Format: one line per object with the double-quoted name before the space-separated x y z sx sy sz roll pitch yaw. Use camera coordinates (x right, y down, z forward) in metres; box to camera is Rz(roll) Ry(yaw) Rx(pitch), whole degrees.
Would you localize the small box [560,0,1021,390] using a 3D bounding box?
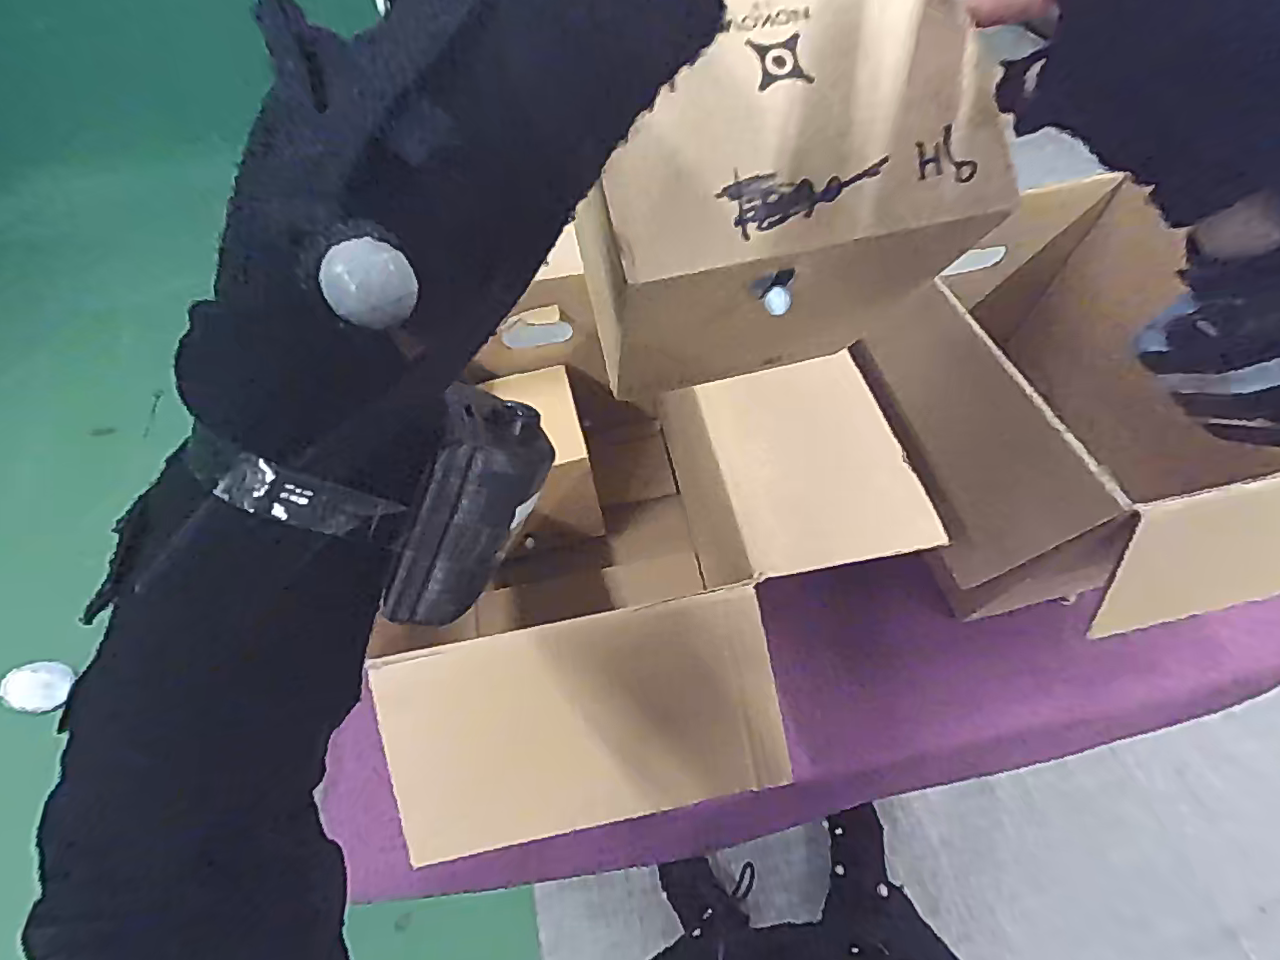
"small box" 0.053 -0.169 0.302 0.168 0.176 0.179 -13 84 -5
